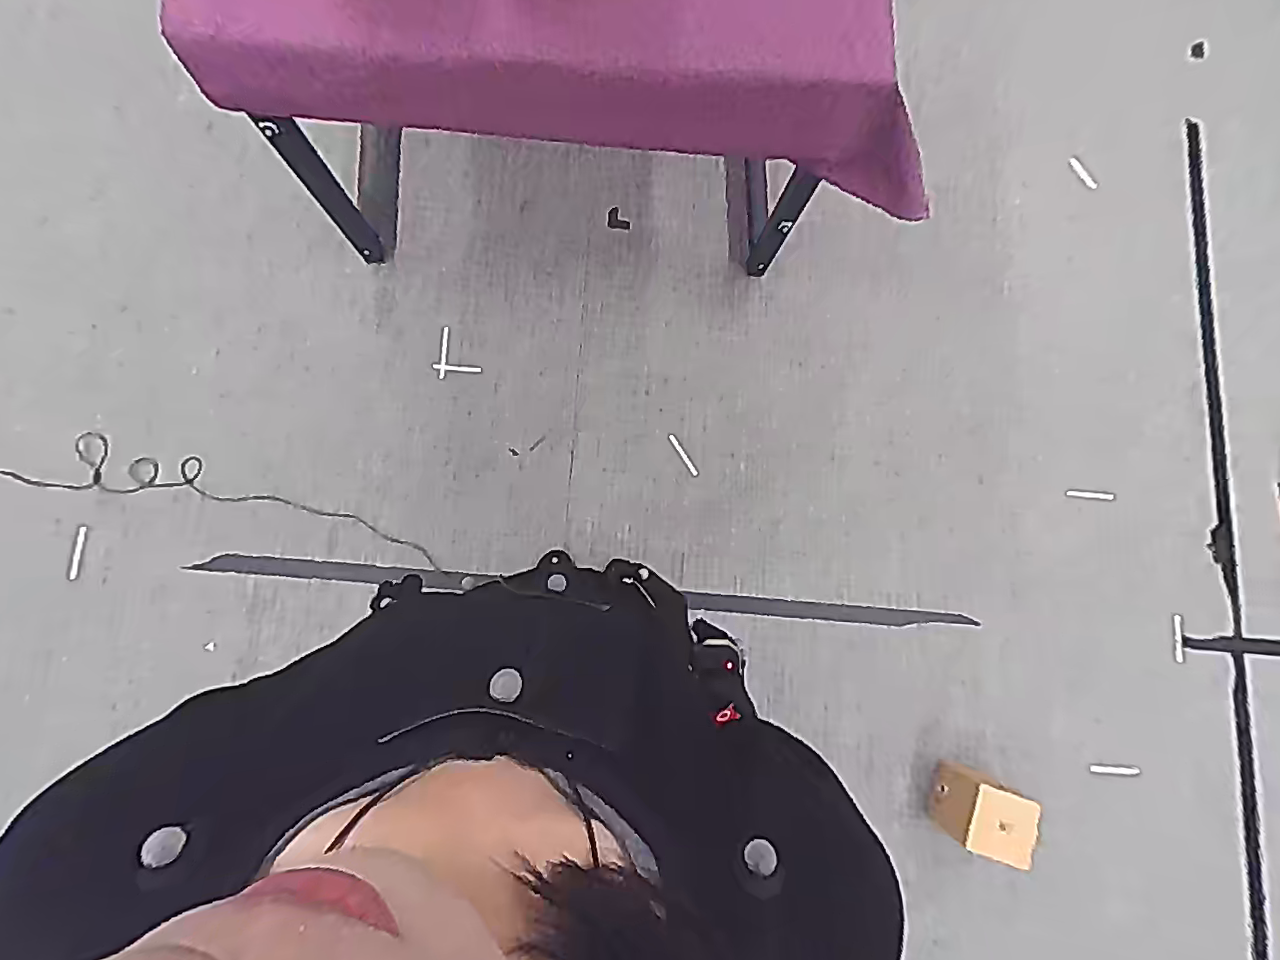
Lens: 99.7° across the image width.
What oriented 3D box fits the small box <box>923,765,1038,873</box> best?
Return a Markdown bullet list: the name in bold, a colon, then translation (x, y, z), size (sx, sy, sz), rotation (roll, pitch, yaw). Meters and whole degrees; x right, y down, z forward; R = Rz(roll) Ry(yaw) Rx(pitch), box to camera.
- **small box**: translation (0.902, 0.894, 1.444), size (0.179, 0.176, 0.168), rotation (20, 80, -1)
